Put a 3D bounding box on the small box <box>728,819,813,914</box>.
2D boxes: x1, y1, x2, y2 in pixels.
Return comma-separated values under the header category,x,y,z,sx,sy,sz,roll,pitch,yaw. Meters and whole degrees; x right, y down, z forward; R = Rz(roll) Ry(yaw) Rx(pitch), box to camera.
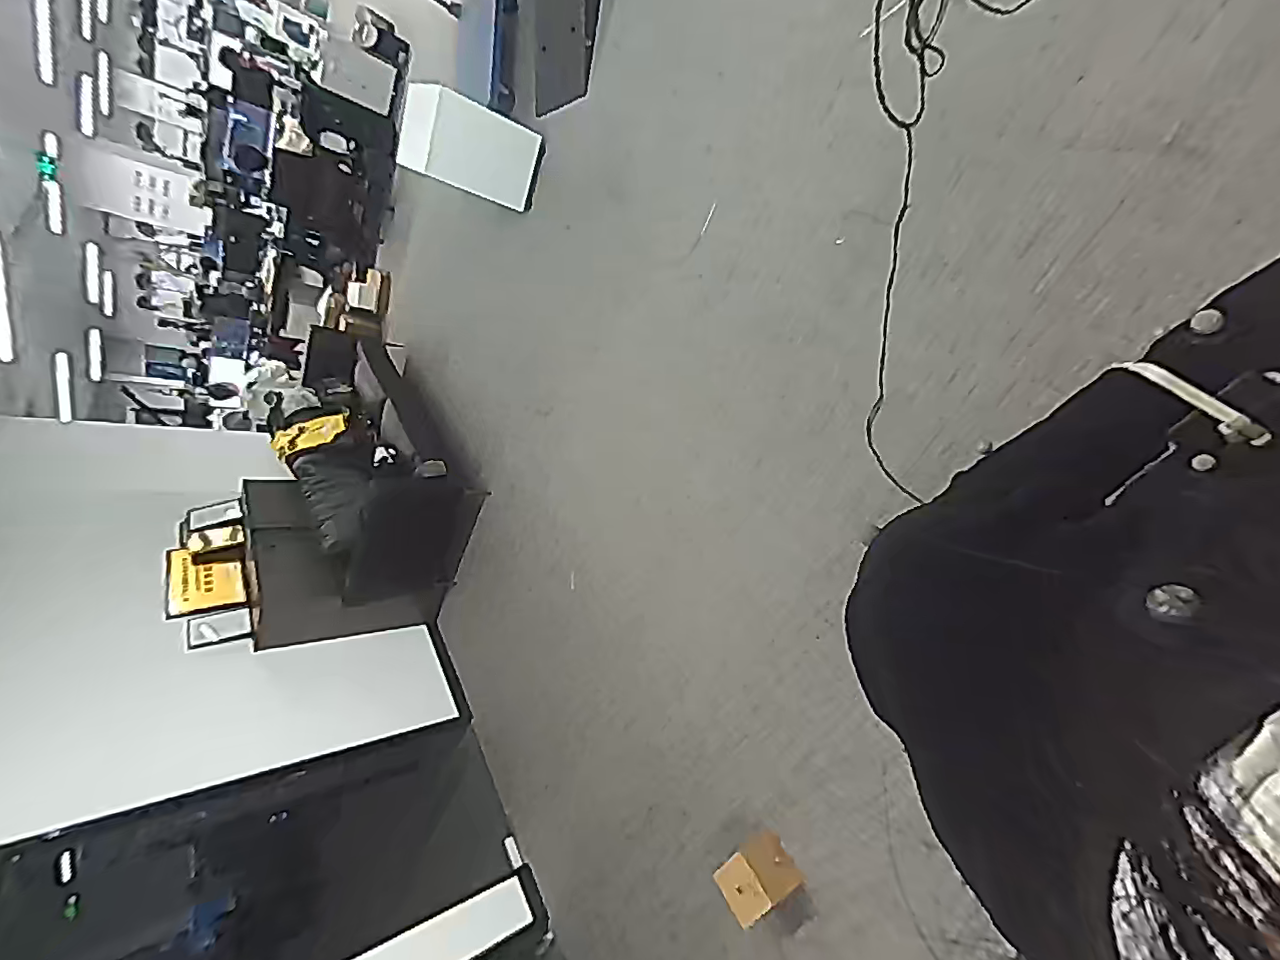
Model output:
category,x,y,z,sx,sy,sz,roll,pitch,yaw
small box,0.428,1.254,1.763,0.168,0.176,0.179,49,124,36
